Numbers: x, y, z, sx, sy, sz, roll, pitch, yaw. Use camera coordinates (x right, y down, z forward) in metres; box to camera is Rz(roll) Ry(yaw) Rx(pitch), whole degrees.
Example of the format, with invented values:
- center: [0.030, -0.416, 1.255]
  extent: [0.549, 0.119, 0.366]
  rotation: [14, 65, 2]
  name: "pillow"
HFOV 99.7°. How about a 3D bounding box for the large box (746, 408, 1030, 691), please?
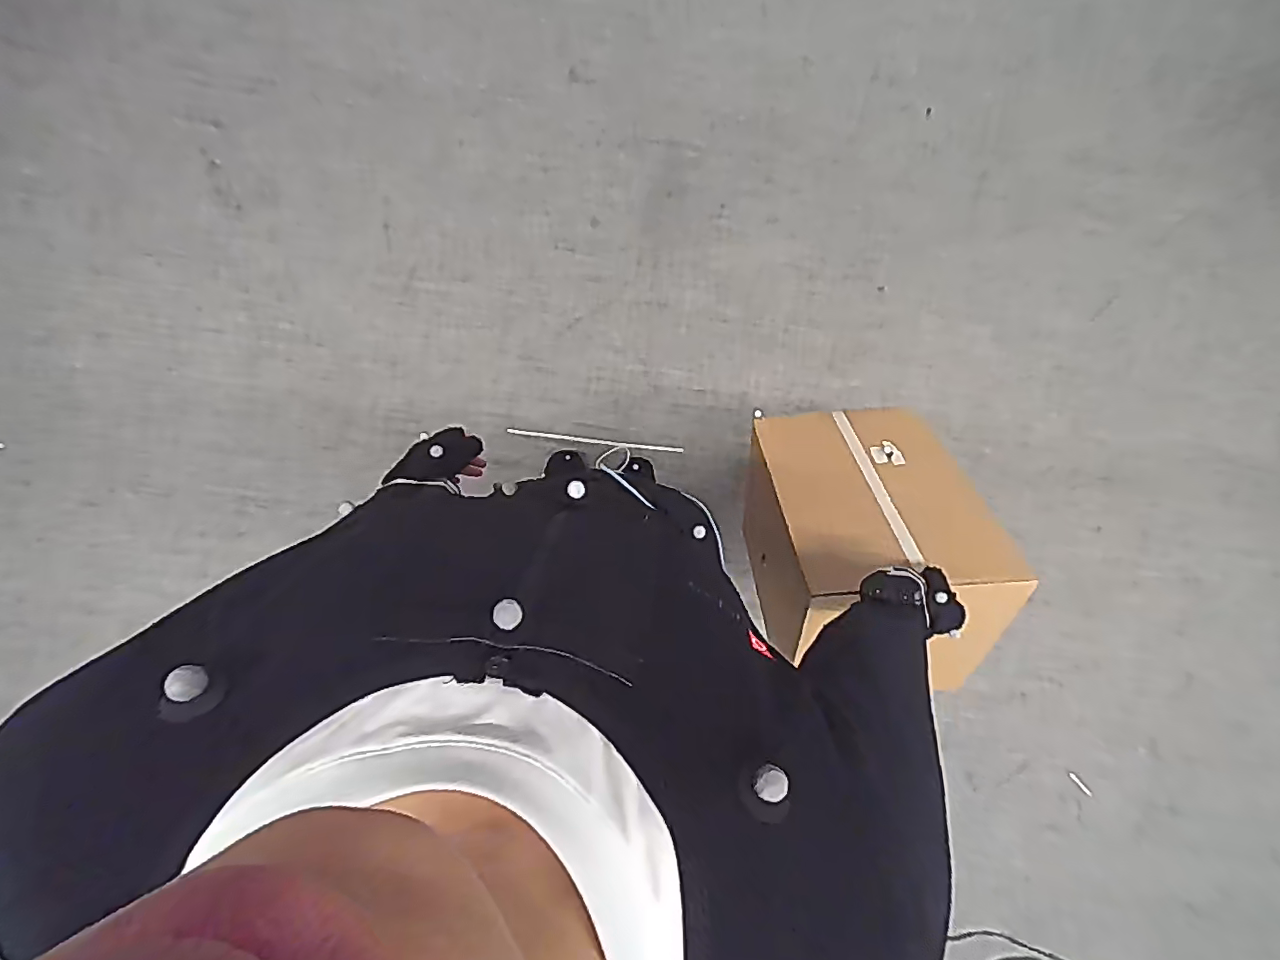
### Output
- center: [0.389, 0.117, 0.988]
  extent: [0.320, 0.408, 0.320]
  rotation: [-4, 132, 0]
  name: "large box"
